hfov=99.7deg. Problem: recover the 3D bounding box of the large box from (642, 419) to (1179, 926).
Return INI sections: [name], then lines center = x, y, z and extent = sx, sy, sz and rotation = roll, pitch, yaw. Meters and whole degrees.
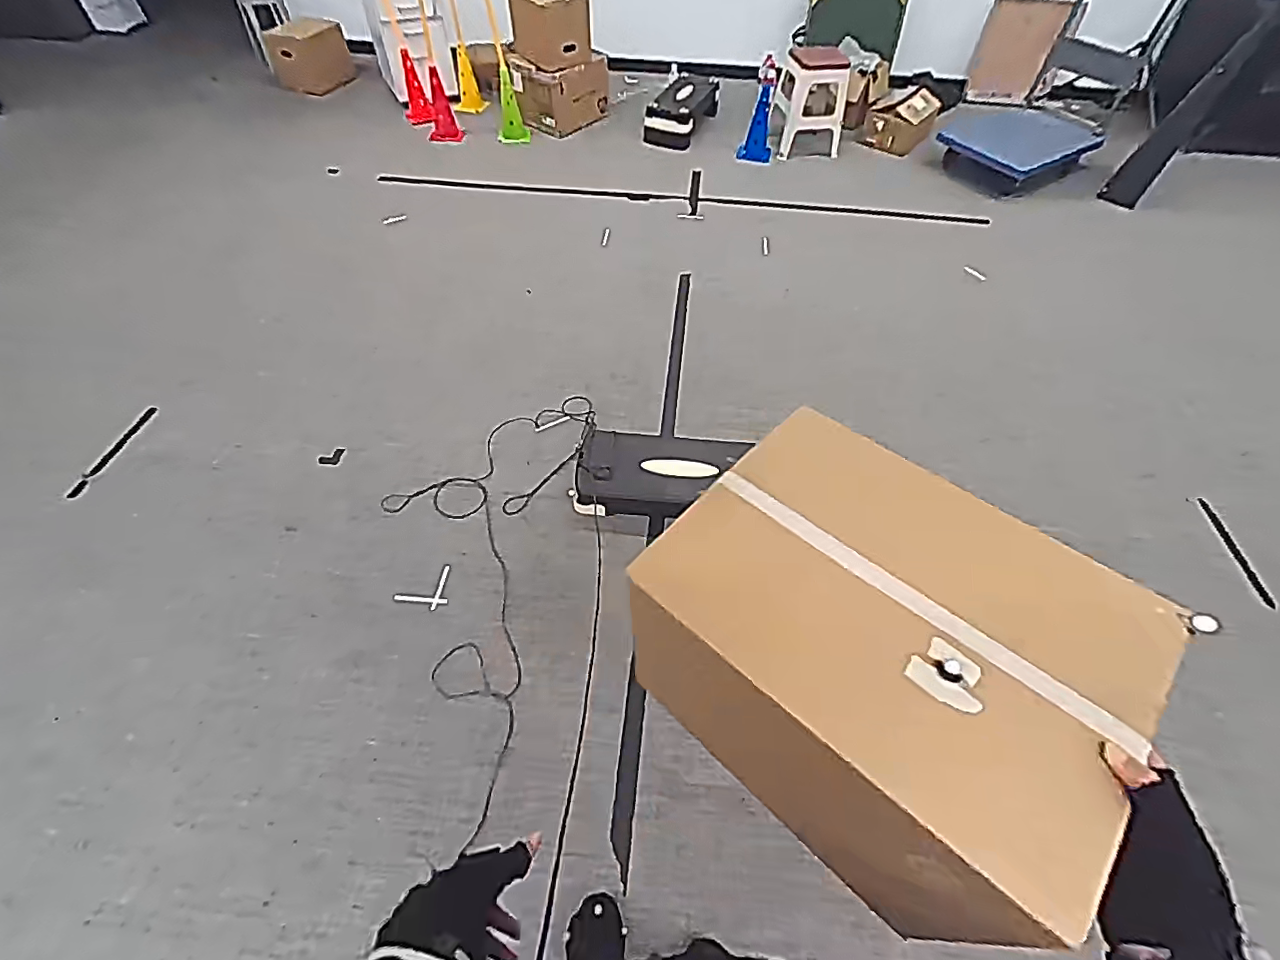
[large box]
center = 0.248, 0.204, 0.629
extent = 0.408, 0.320, 0.320
rotation = 37, 62, 27
